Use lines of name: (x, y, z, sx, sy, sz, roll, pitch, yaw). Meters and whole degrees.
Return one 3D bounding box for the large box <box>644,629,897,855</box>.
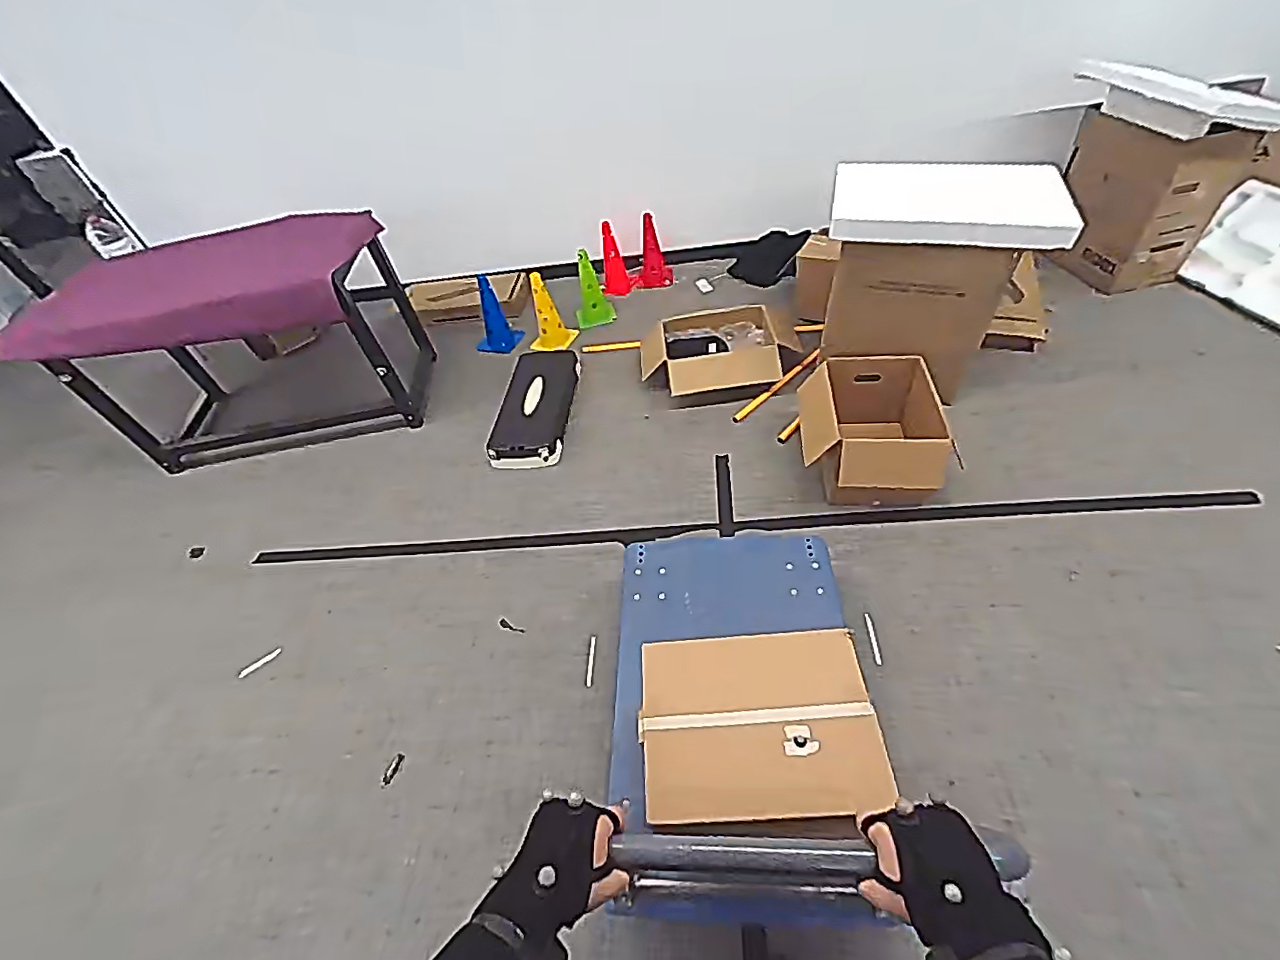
large box: (0.225, 0.527, 1.079, 0.408, 0.320, 0.320, -6, 48, 4)
